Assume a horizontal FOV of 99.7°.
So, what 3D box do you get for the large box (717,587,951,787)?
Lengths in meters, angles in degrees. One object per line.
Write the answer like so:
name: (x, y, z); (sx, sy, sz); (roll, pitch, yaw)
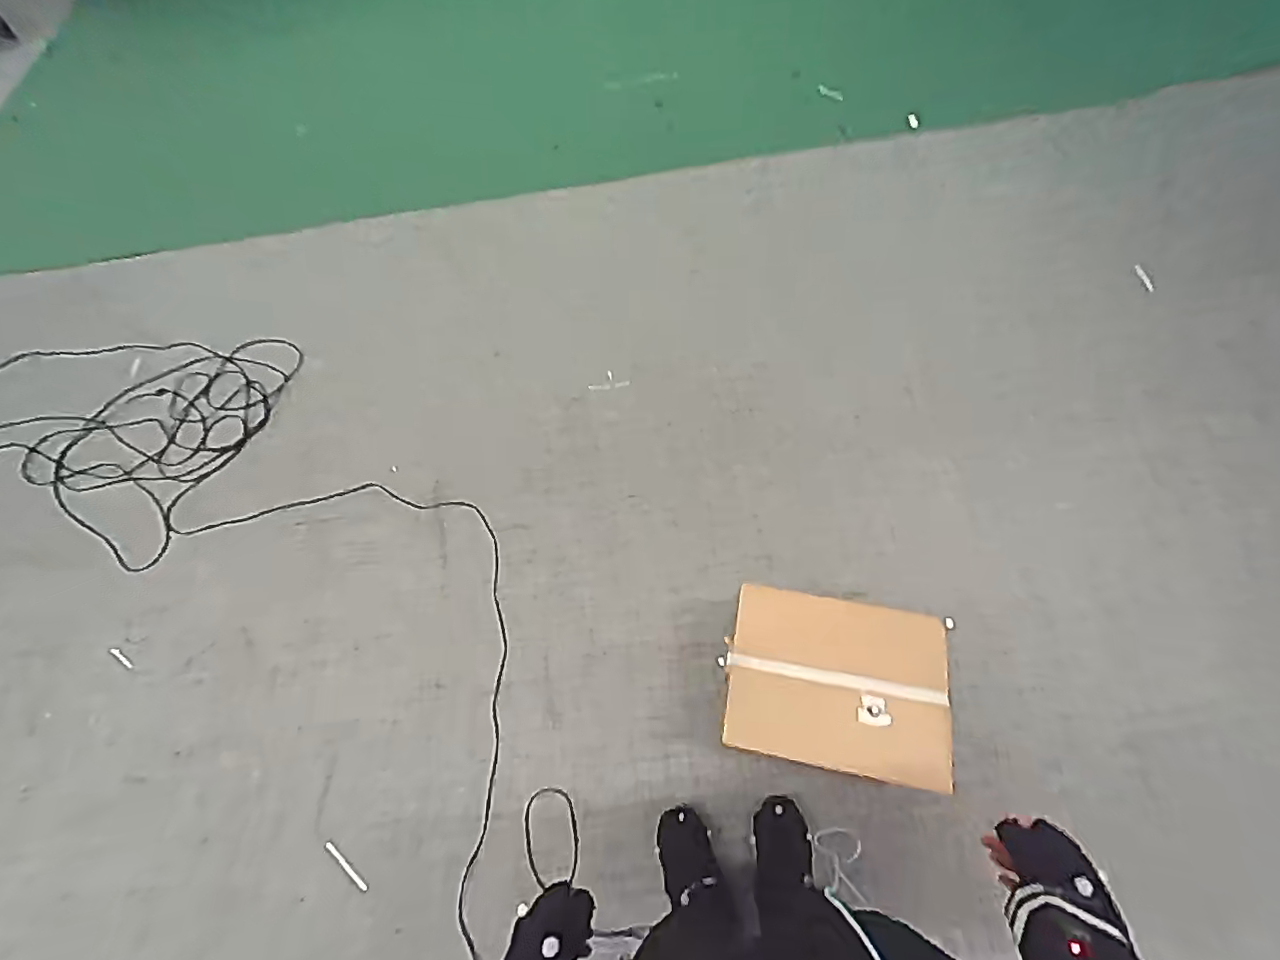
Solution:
large box: (0.389, 0.450, 1.175); (0.408, 0.320, 0.320); (8, 65, 8)
